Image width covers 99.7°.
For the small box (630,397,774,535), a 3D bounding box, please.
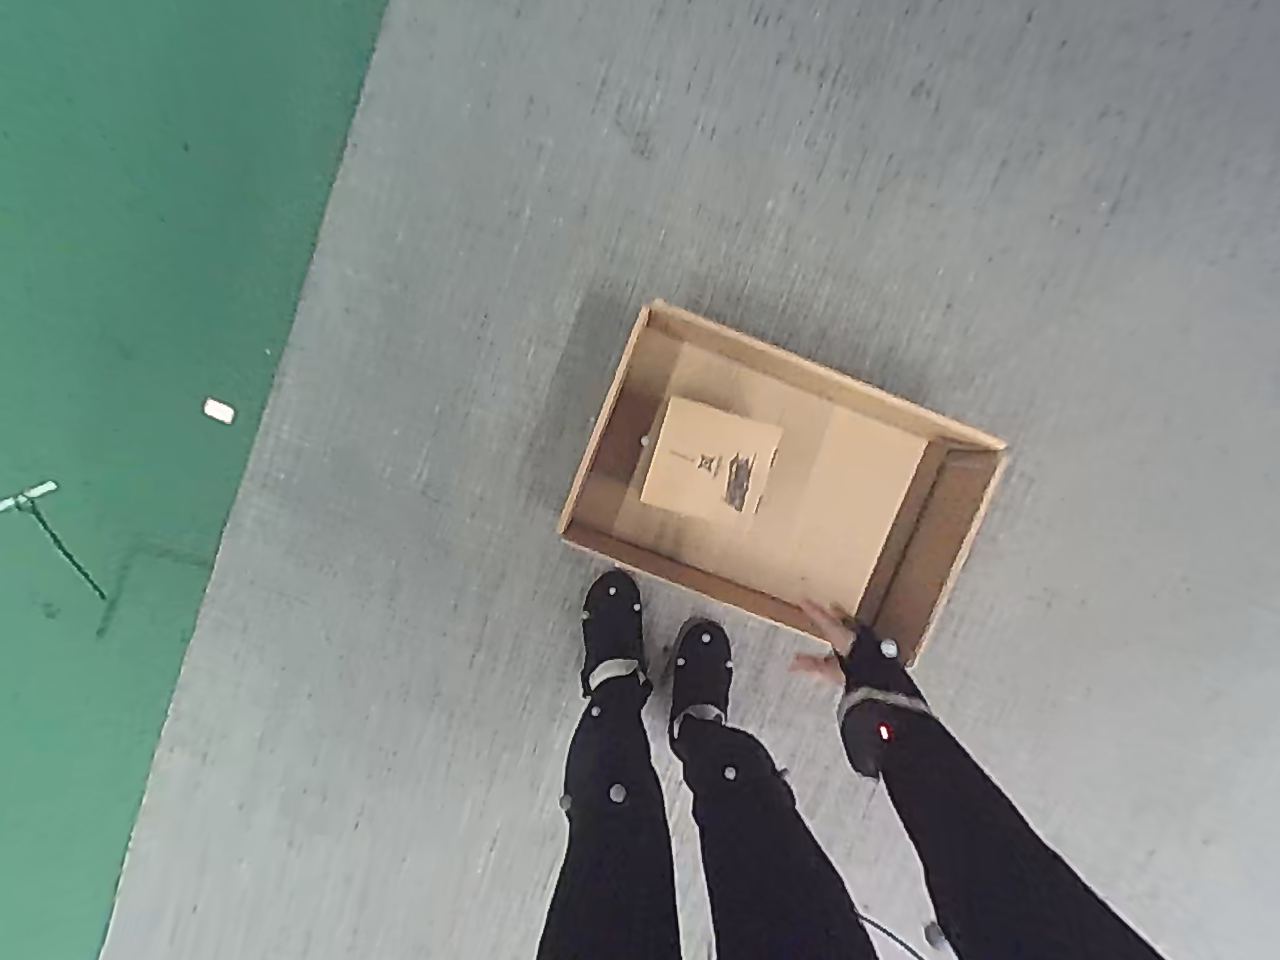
[{"bbox_3d":[0.092,-0.028,0.876,0.179,0.176,0.168,18,95,0],"label":"small box"}]
